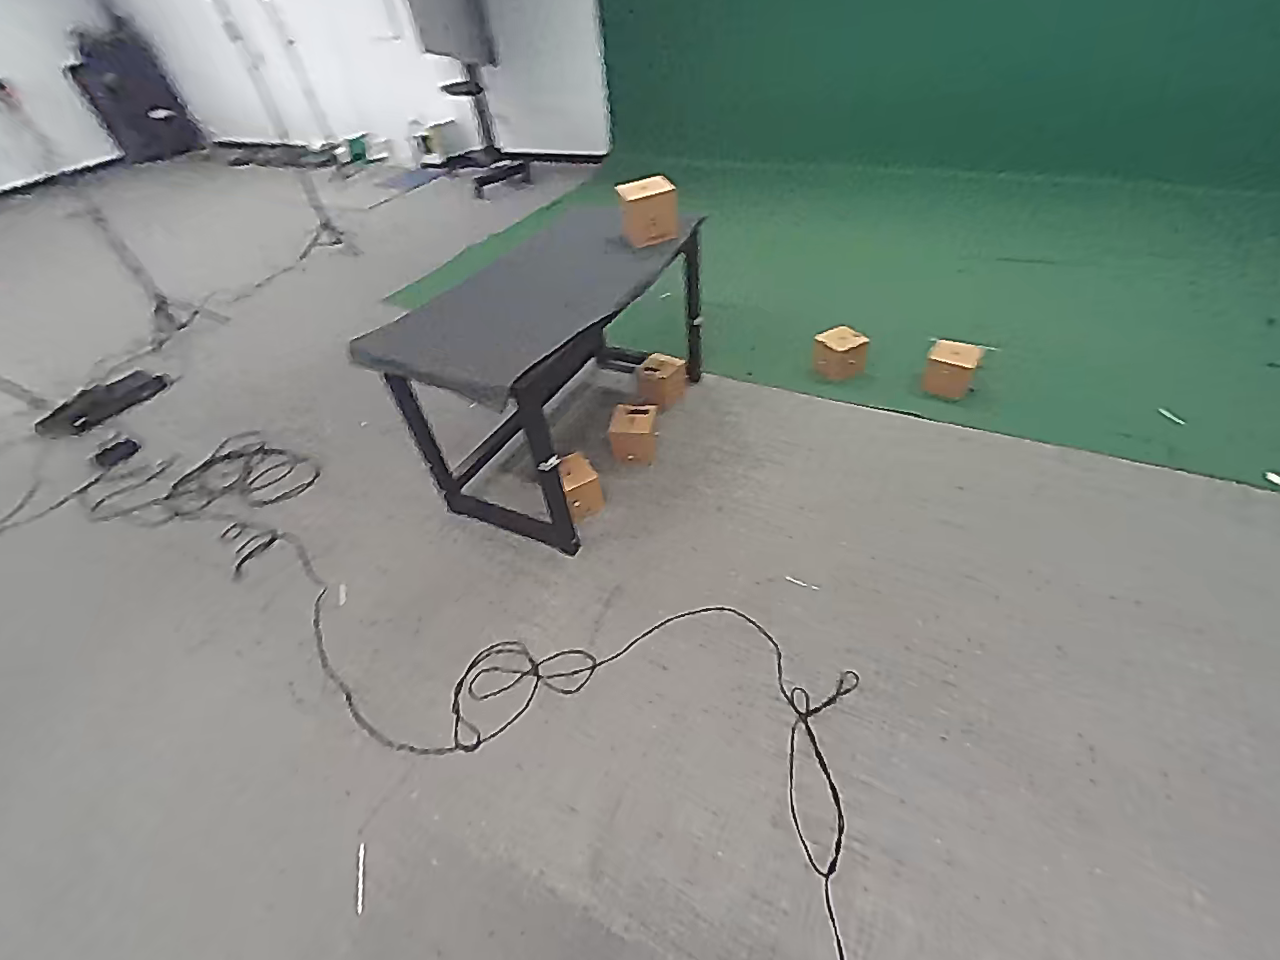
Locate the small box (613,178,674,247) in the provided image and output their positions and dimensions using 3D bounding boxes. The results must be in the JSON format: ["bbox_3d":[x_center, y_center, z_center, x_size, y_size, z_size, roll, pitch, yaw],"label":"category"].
[{"bbox_3d":[0.015,-0.954,1.940,0.168,0.176,0.179,-17,45,-7],"label":"small box"}]

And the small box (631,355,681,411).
[{"bbox_3d":[0.078,-0.441,2.459,0.168,0.176,0.179,21,50,25],"label":"small box"}]

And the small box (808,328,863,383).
[{"bbox_3d":[0.897,-0.571,2.496,0.179,0.176,0.168,-24,46,-17],"label":"small box"}]

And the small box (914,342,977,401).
[{"bbox_3d":[1.316,-0.466,2.338,0.179,0.176,0.168,25,53,27],"label":"small box"}]

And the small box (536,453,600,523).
[{"bbox_3d":[-0.264,0.037,2.015,0.168,0.176,0.179,-25,47,-18],"label":"small box"}]
